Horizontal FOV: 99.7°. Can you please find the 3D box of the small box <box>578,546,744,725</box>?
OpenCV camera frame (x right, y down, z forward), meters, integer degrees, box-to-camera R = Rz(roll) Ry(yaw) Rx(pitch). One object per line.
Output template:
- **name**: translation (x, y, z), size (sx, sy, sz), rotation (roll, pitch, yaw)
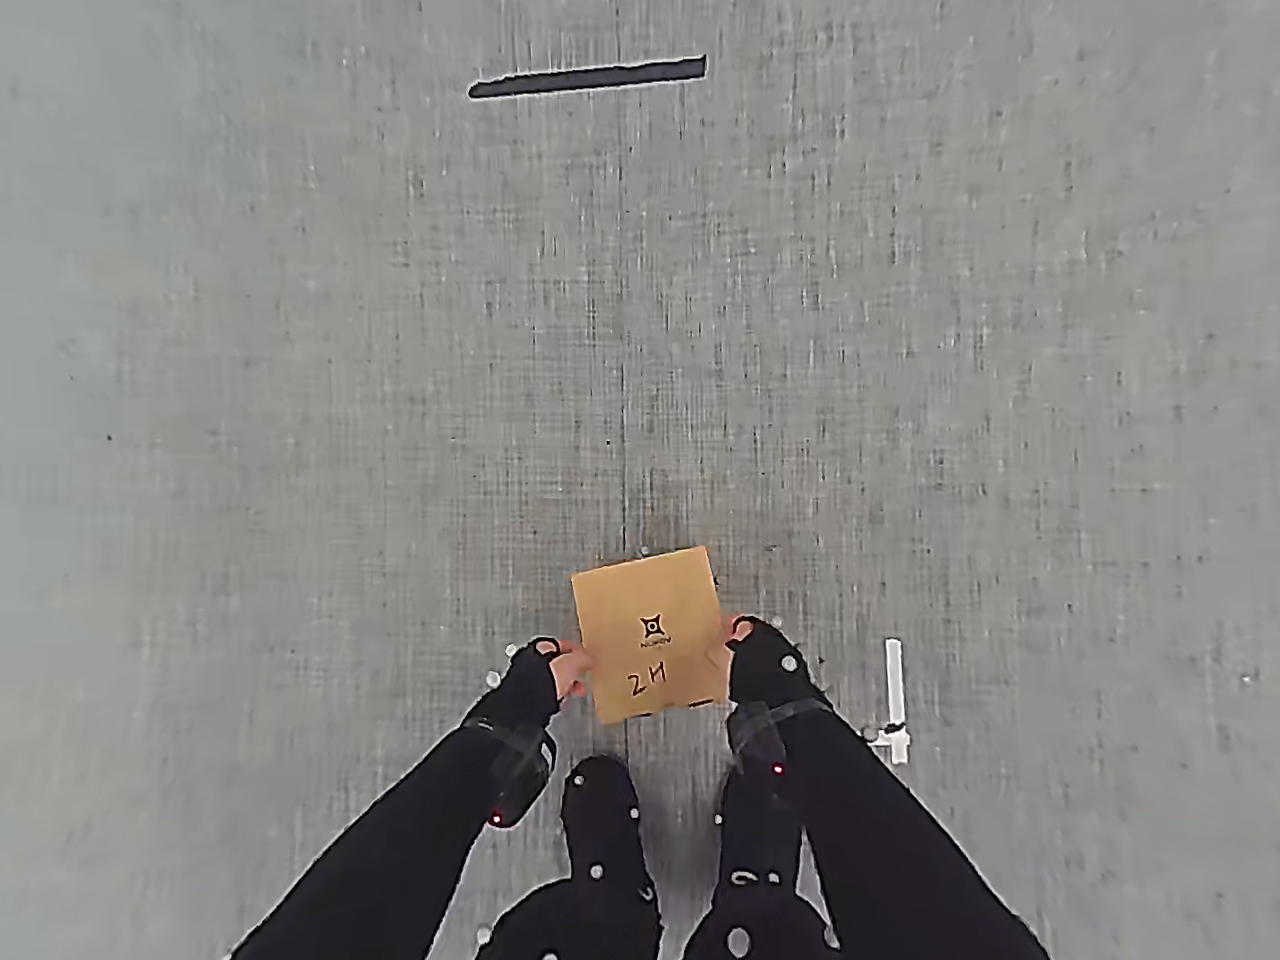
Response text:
- **small box**: translation (0.026, 0.189, 0.696), size (0.168, 0.176, 0.179), rotation (-13, 81, 2)
